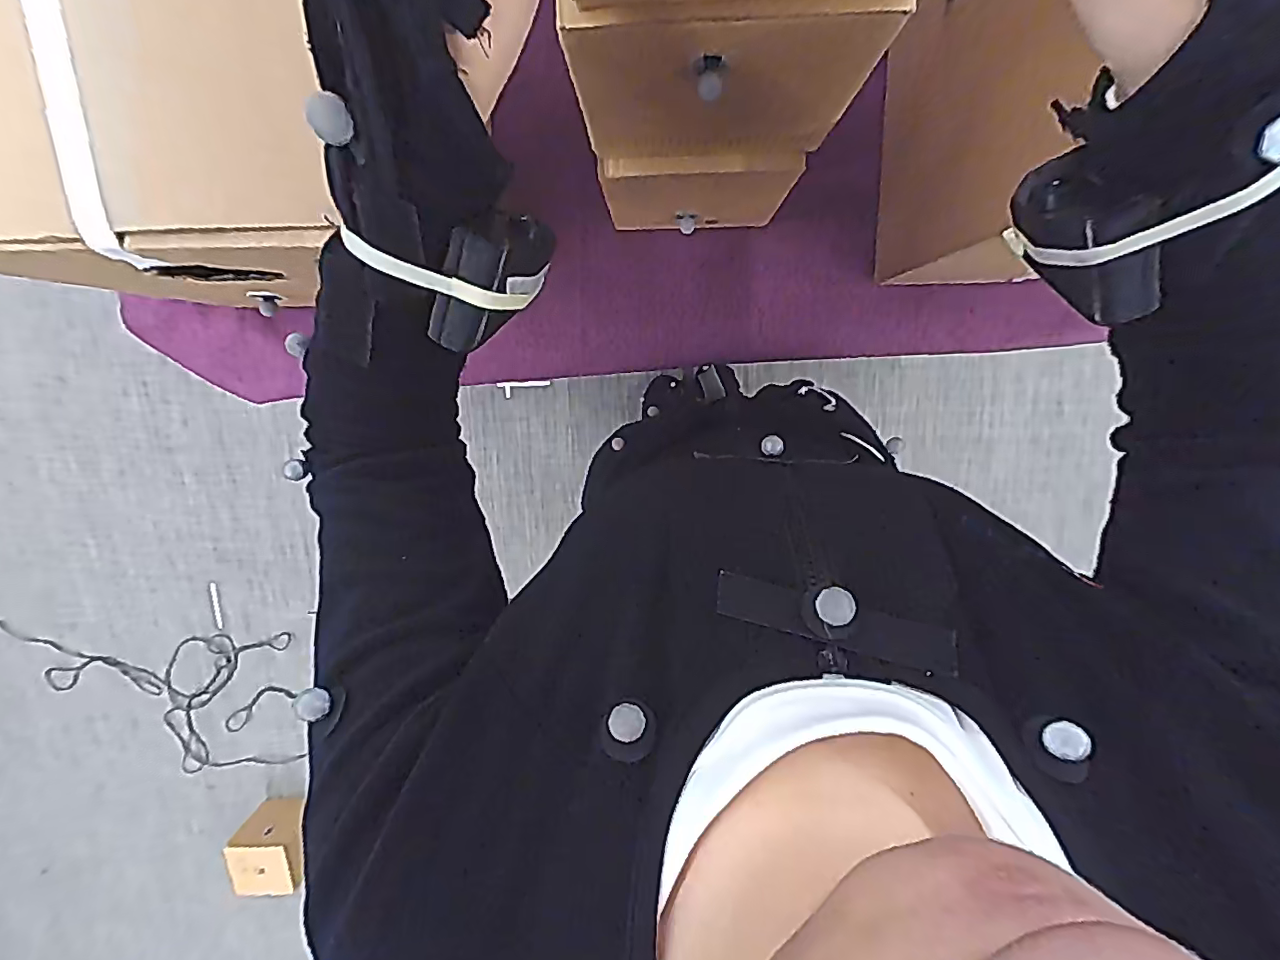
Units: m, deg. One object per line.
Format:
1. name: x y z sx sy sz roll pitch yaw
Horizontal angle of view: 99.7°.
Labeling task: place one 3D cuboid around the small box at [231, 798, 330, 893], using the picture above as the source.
1. small box: -1.038 1.064 1.583 0.179 0.176 0.168 -2 102 4

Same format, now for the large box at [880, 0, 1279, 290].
1. large box: 0.389 -0.380 0.396 0.320 0.320 0.408 -2 100 3
